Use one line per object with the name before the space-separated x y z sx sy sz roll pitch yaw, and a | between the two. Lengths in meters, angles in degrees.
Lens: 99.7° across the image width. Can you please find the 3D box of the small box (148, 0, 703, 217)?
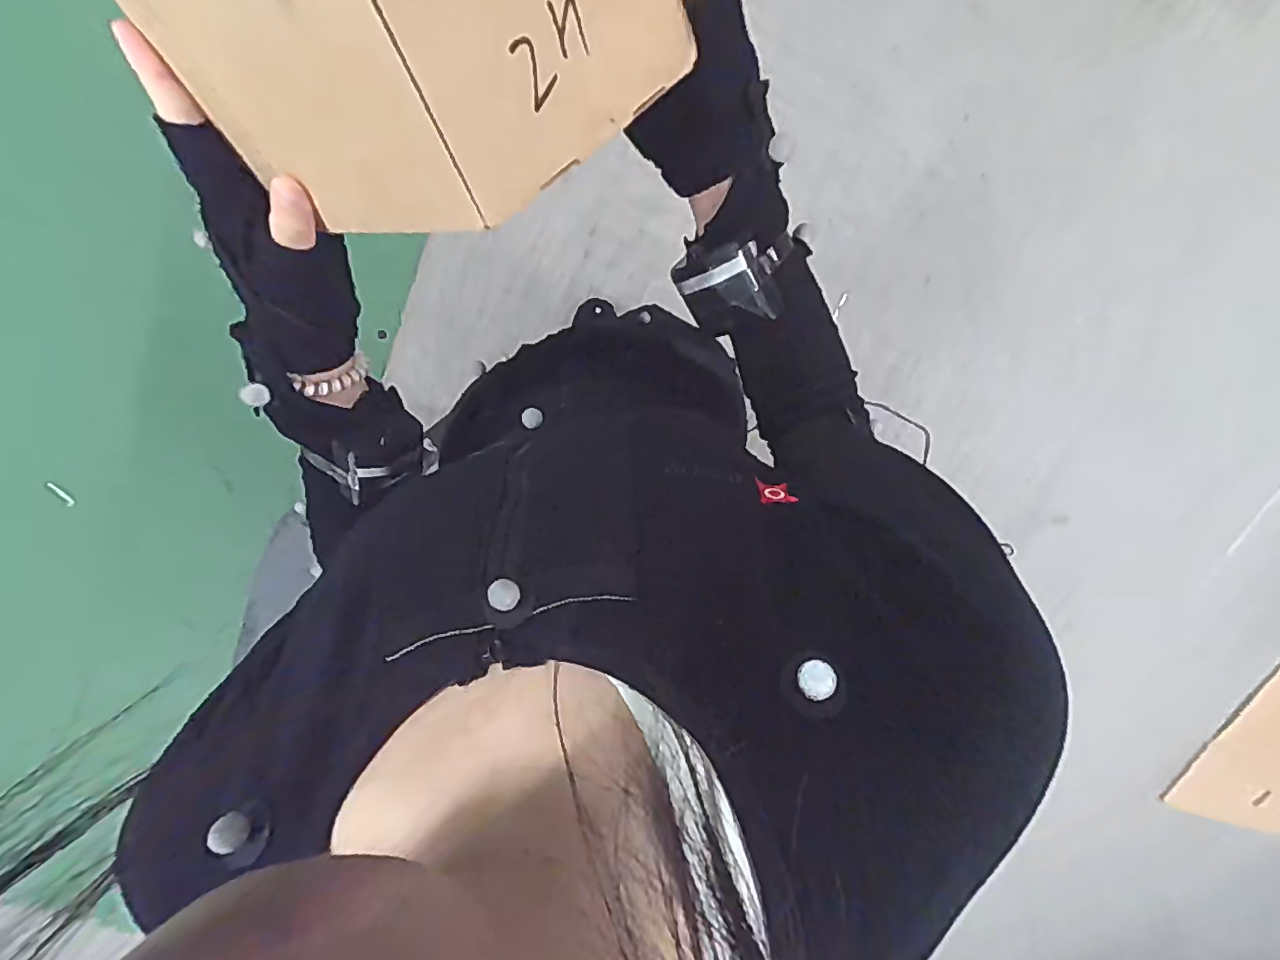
small box | -0.100 -0.230 0.223 0.168 0.176 0.179 -54 143 -26
